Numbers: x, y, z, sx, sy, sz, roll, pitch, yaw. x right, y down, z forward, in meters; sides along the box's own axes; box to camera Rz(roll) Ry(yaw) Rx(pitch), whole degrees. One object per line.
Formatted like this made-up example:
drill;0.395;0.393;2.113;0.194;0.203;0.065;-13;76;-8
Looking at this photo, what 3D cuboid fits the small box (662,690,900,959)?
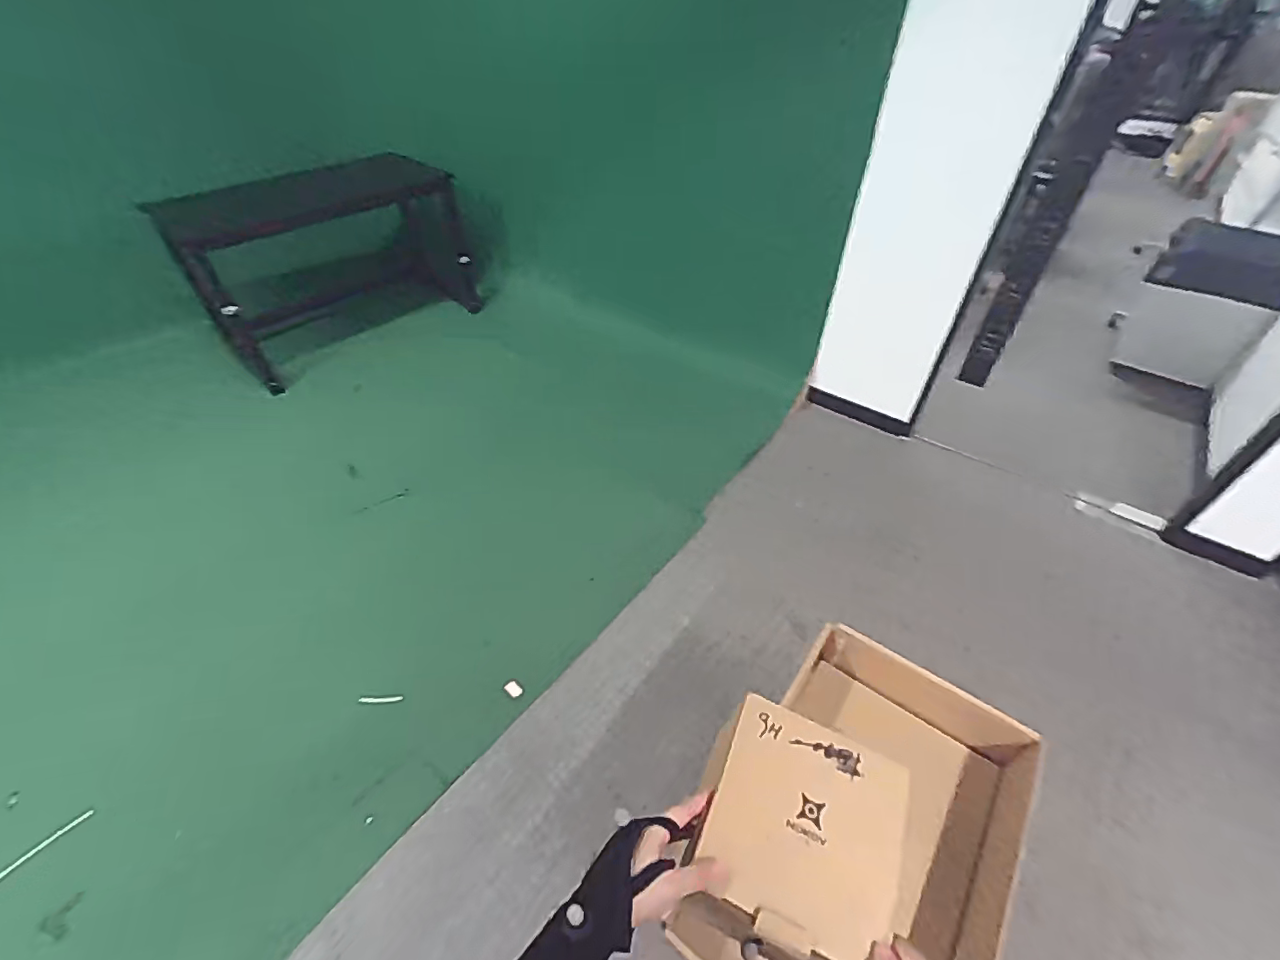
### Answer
small box;0.130;0.349;0.537;0.168;0.176;0.179;23;51;11
